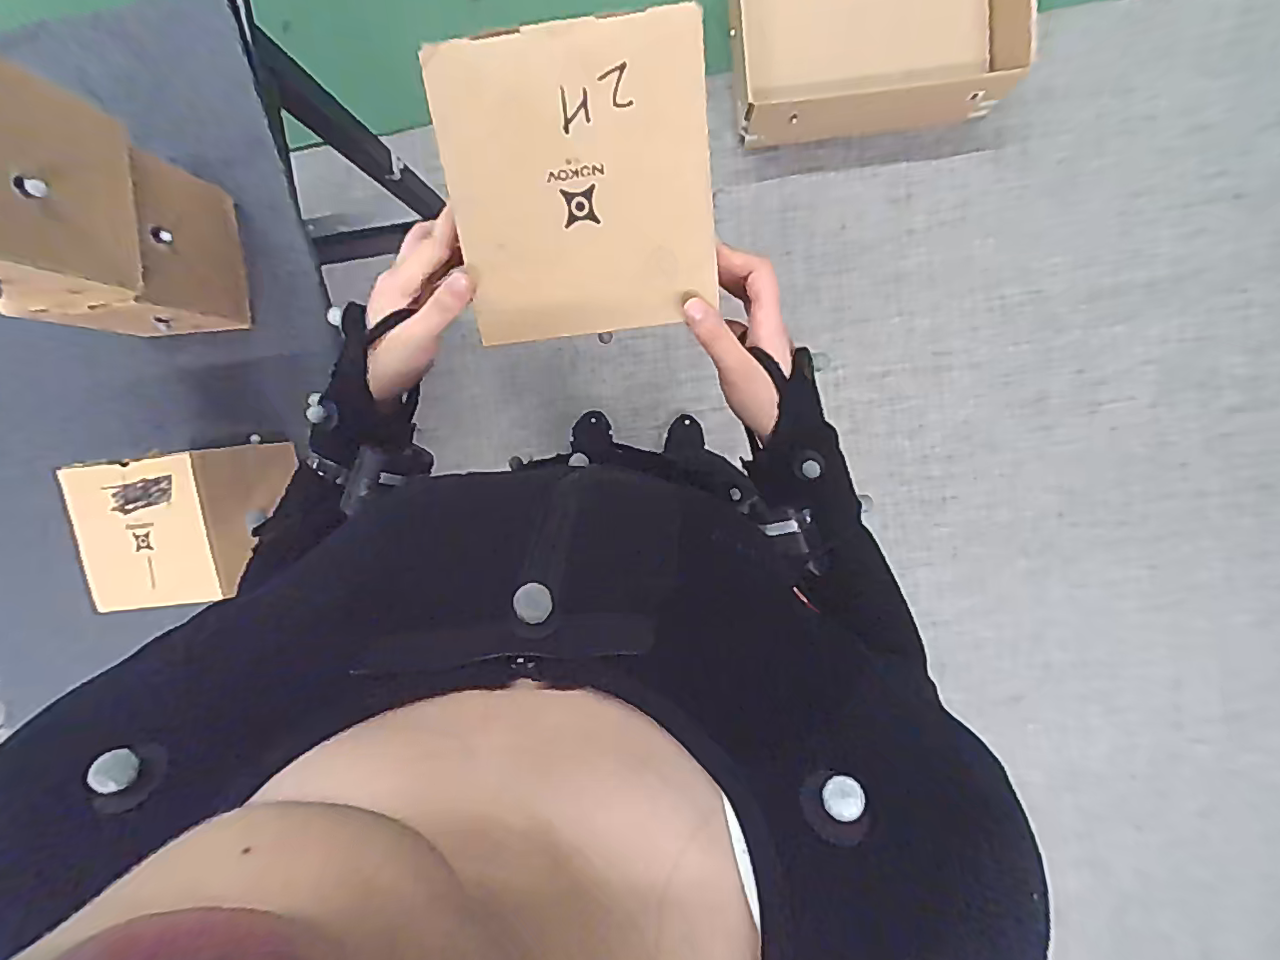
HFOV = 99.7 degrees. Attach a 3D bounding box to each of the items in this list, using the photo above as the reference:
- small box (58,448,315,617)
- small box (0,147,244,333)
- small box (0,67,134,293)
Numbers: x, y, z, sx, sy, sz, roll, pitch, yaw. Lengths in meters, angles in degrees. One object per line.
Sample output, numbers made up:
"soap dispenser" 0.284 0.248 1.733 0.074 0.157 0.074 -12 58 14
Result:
"small box" -0.554 0.055 0.687 0.168 0.176 0.179 -6 98 5
"small box" -0.618 -0.277 0.648 0.168 0.176 0.179 -4 96 3
"small box" -0.611 -0.270 0.484 0.168 0.176 0.179 -1 98 3
